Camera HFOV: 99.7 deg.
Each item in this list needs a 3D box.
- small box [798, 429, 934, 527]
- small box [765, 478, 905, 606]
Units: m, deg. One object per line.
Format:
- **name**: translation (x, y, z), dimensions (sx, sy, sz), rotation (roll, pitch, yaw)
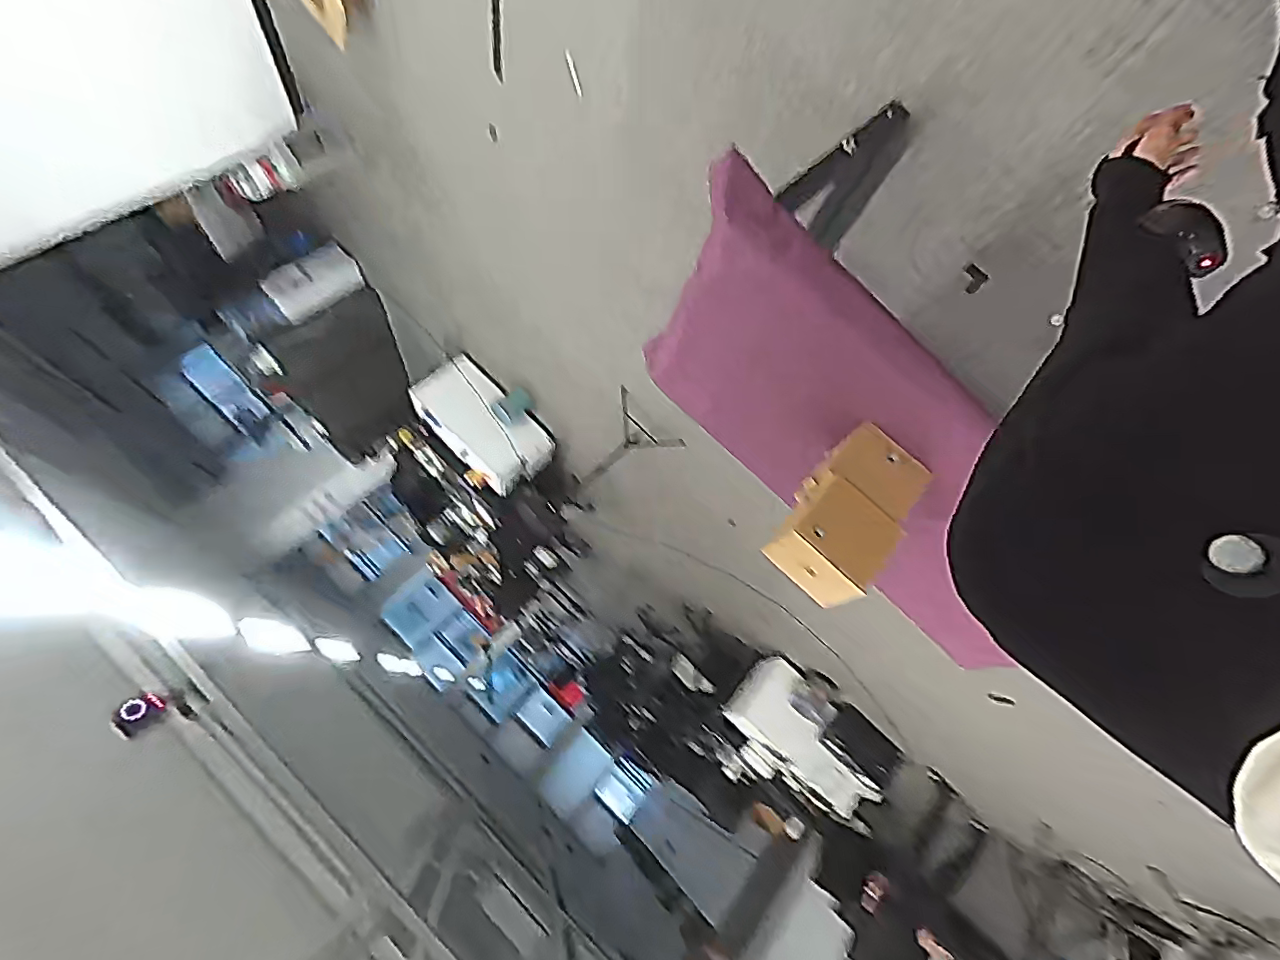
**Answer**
- **small box**: translation (0.488, 0.013, 1.176), dimensions (0.179, 0.176, 0.168), rotation (43, 158, 8)
- **small box**: translation (0.395, 0.127, 1.102), dimensions (0.179, 0.176, 0.168), rotation (43, 158, 8)
